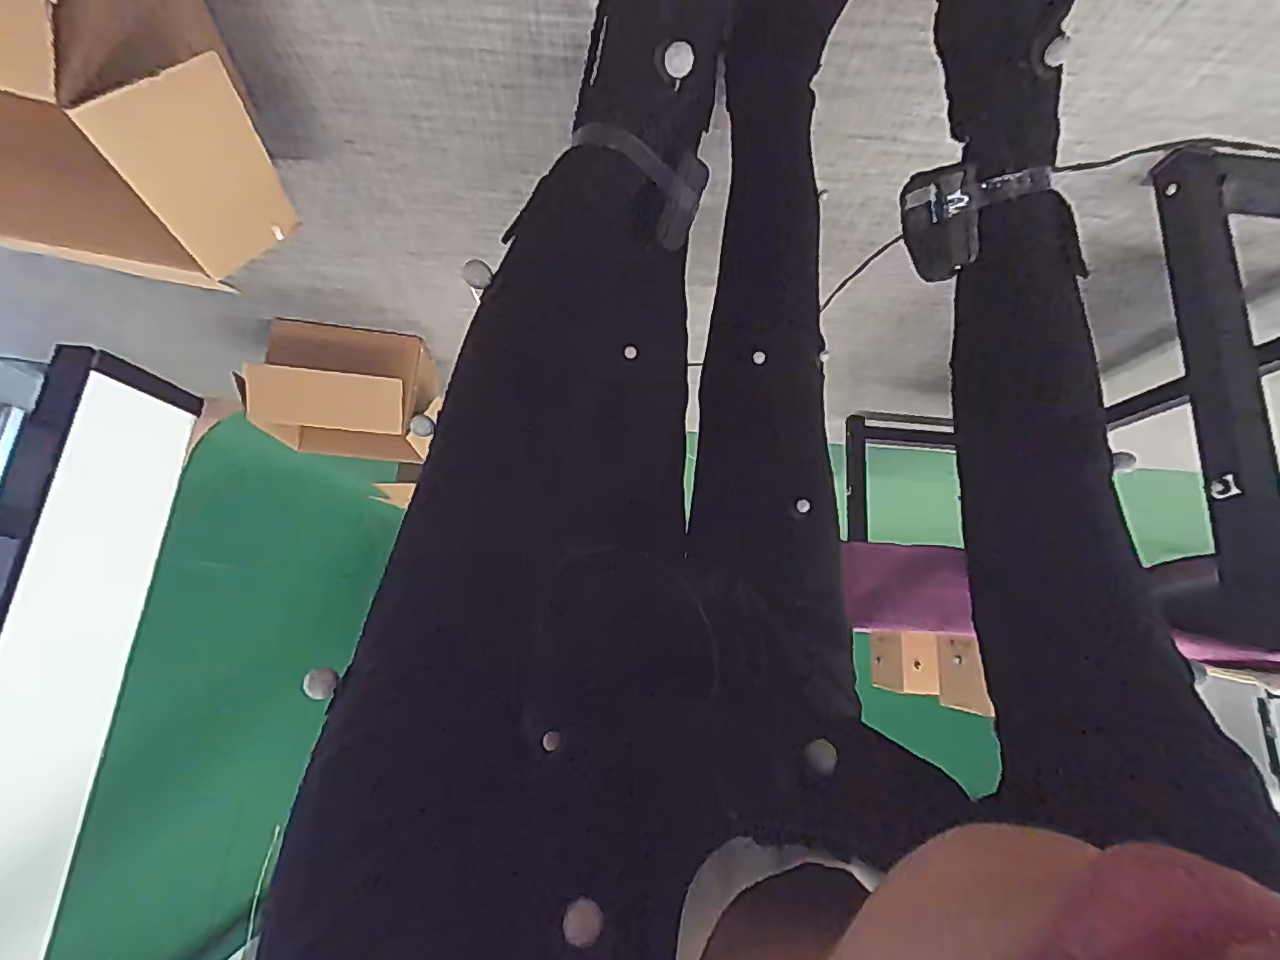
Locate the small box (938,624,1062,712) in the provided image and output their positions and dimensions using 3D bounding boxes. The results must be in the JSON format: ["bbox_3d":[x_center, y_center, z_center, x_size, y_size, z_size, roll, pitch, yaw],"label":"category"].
[{"bbox_3d":[0.822,0.428,1.249,0.179,0.176,0.168,6,166,-7],"label":"small box"}]
